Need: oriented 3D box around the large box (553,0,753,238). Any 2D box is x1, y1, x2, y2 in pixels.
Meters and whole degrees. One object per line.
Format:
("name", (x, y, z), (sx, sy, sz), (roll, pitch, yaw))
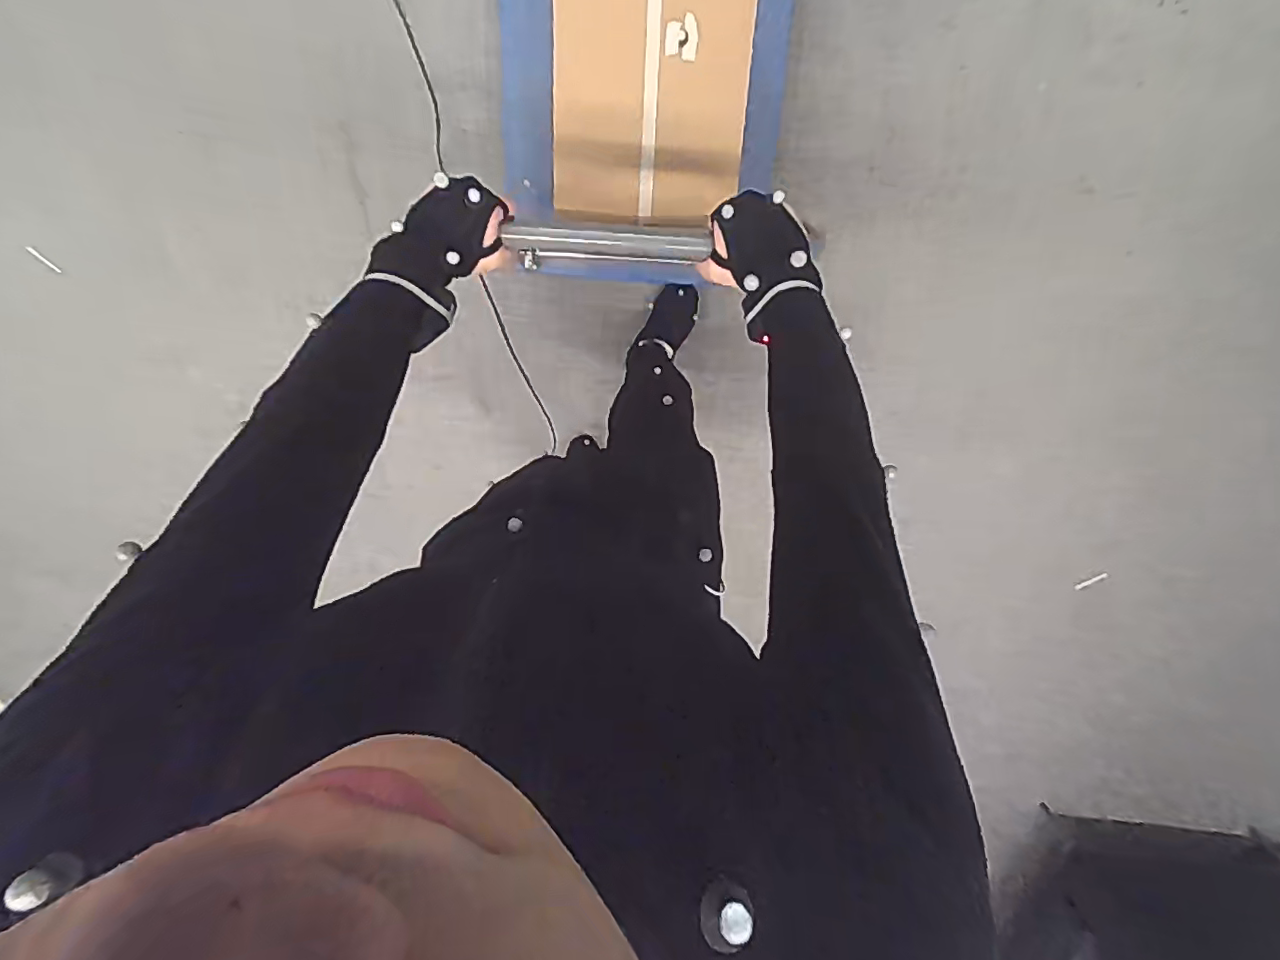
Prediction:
("large box", (0.021, -0.682, 1.011), (0.320, 0.320, 0.408), (3, 111, 0))
